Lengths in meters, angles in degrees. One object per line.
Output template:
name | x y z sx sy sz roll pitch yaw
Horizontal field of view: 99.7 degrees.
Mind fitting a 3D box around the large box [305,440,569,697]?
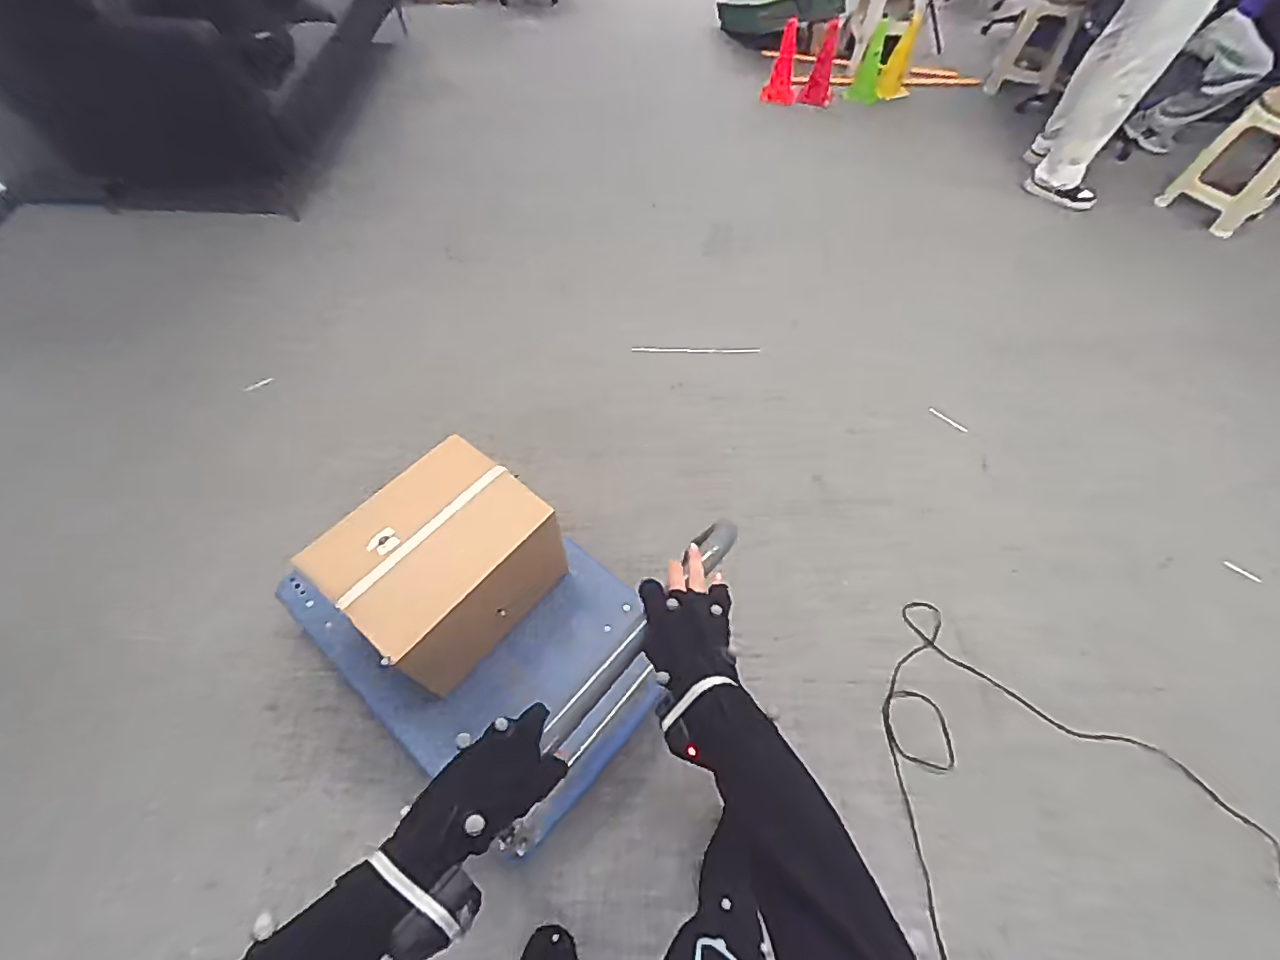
large box | -0.409 0.196 1.199 0.320 0.320 0.408 34 63 19
